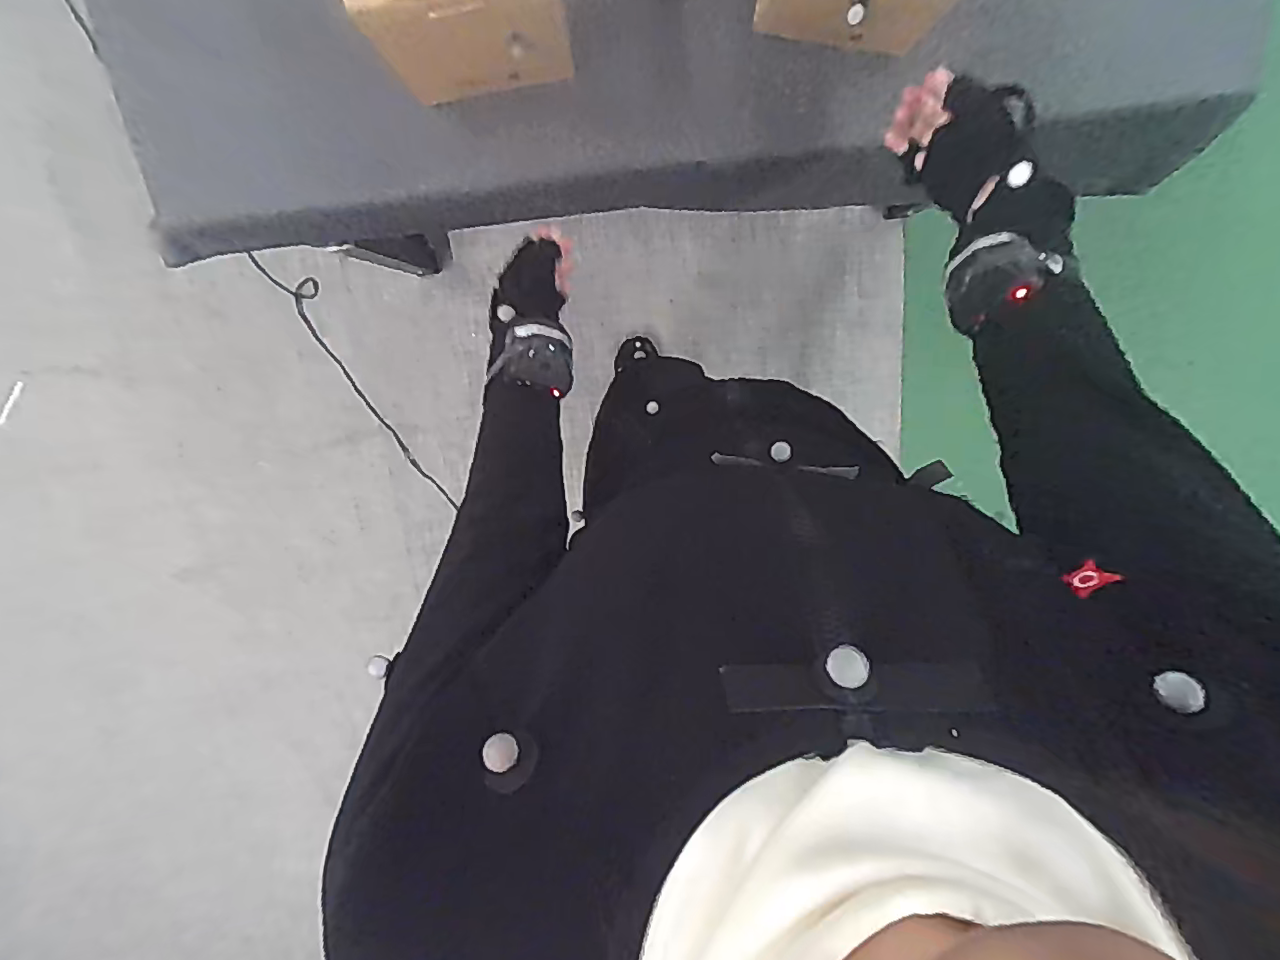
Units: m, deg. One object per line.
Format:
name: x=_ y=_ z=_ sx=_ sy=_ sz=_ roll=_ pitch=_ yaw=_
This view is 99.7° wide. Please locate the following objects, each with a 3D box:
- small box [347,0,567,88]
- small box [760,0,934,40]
small box: x=-0.164 y=-0.479 z=0.471 sx=0.168 sy=0.176 sz=0.179 roll=-12 pitch=103 yaw=-1
small box: x=0.208 y=-0.530 z=0.472 sx=0.168 sy=0.176 sz=0.179 roll=5 pitch=106 yaw=-4
